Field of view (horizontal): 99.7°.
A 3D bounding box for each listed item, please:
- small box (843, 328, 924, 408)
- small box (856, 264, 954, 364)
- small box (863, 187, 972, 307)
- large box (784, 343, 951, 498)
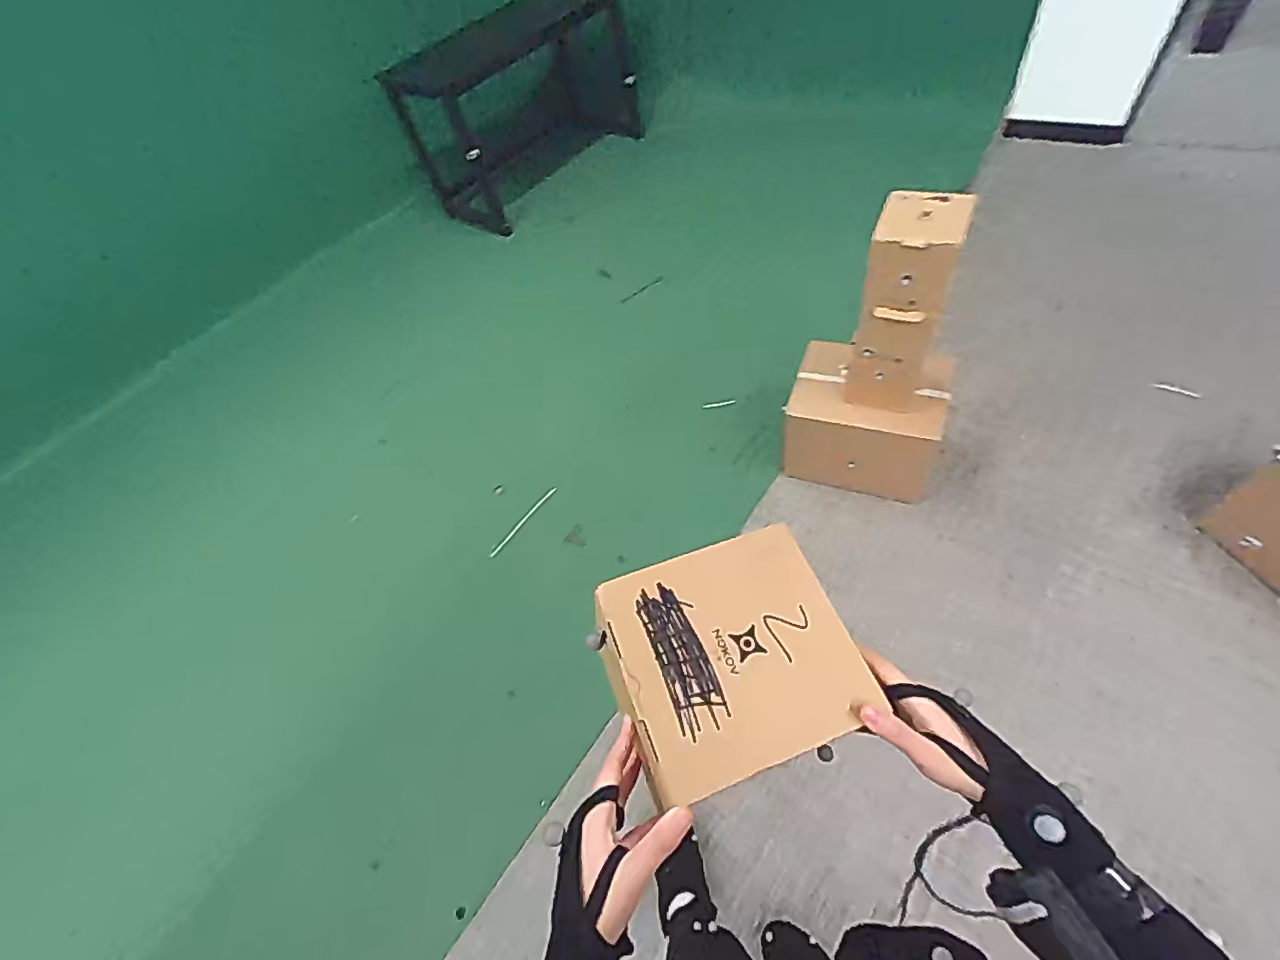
[{"bbox_3d":[0.650,-0.313,1.432,0.179,0.176,0.168,16,62,23],"label":"small box"},{"bbox_3d":[0.628,-0.406,1.299,0.168,0.176,0.179,18,63,25],"label":"small box"},{"bbox_3d":[0.592,-0.501,1.169,0.168,0.176,0.179,17,63,24],"label":"small box"},{"bbox_3d":[0.675,-0.180,1.638,0.408,0.320,0.320,12,58,23],"label":"large box"}]
